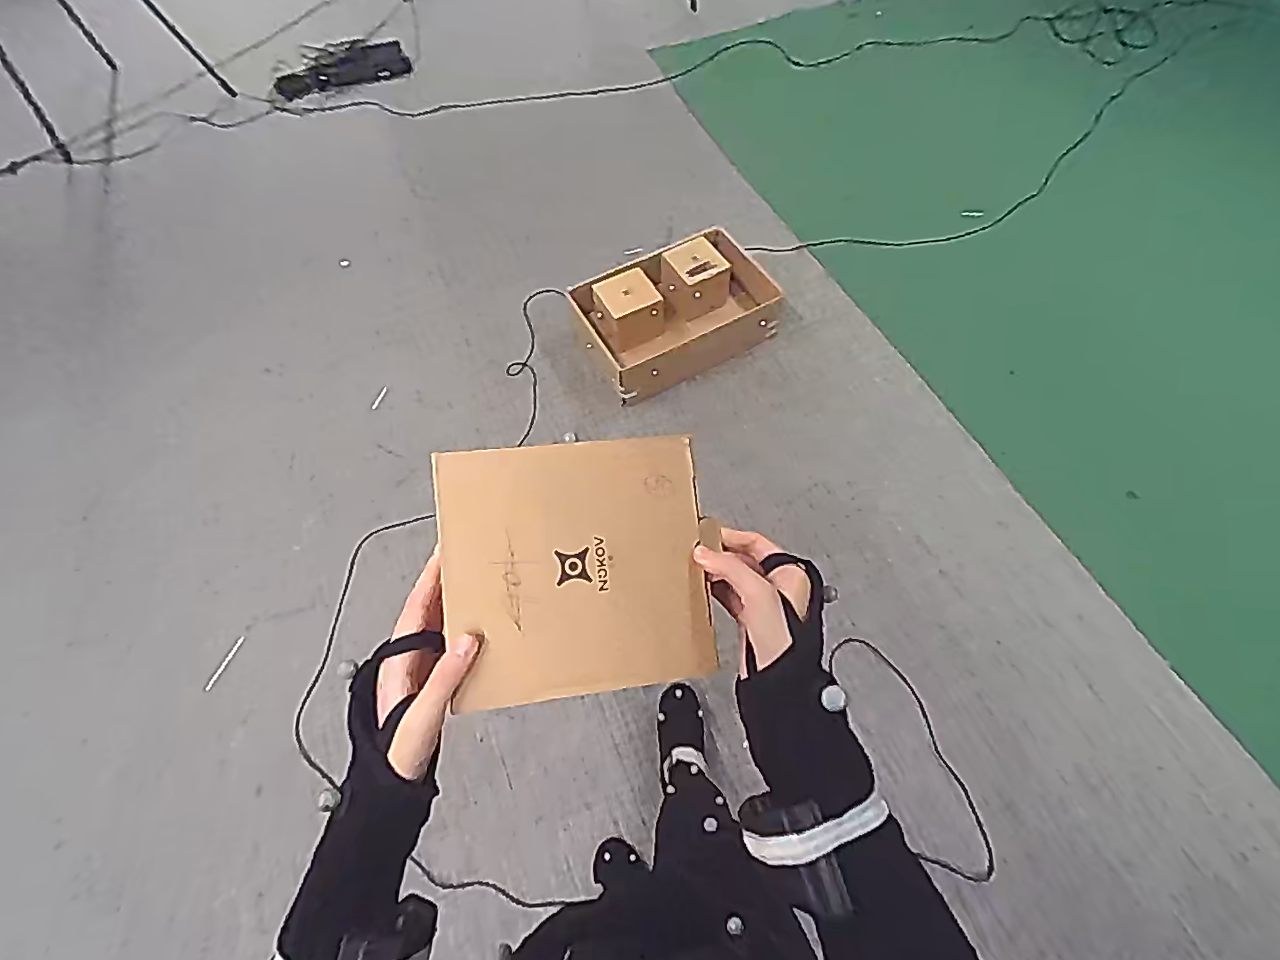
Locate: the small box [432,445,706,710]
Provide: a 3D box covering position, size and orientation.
[{"bbox_3d":[-0.059,0.068,0.439,0.179,0.176,0.168,-4,84,-9],"label":"small box"}]

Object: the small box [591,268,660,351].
[{"bbox_3d":[-0.044,-0.557,1.785,0.179,0.176,0.168,-26,66,-12],"label":"small box"}]
